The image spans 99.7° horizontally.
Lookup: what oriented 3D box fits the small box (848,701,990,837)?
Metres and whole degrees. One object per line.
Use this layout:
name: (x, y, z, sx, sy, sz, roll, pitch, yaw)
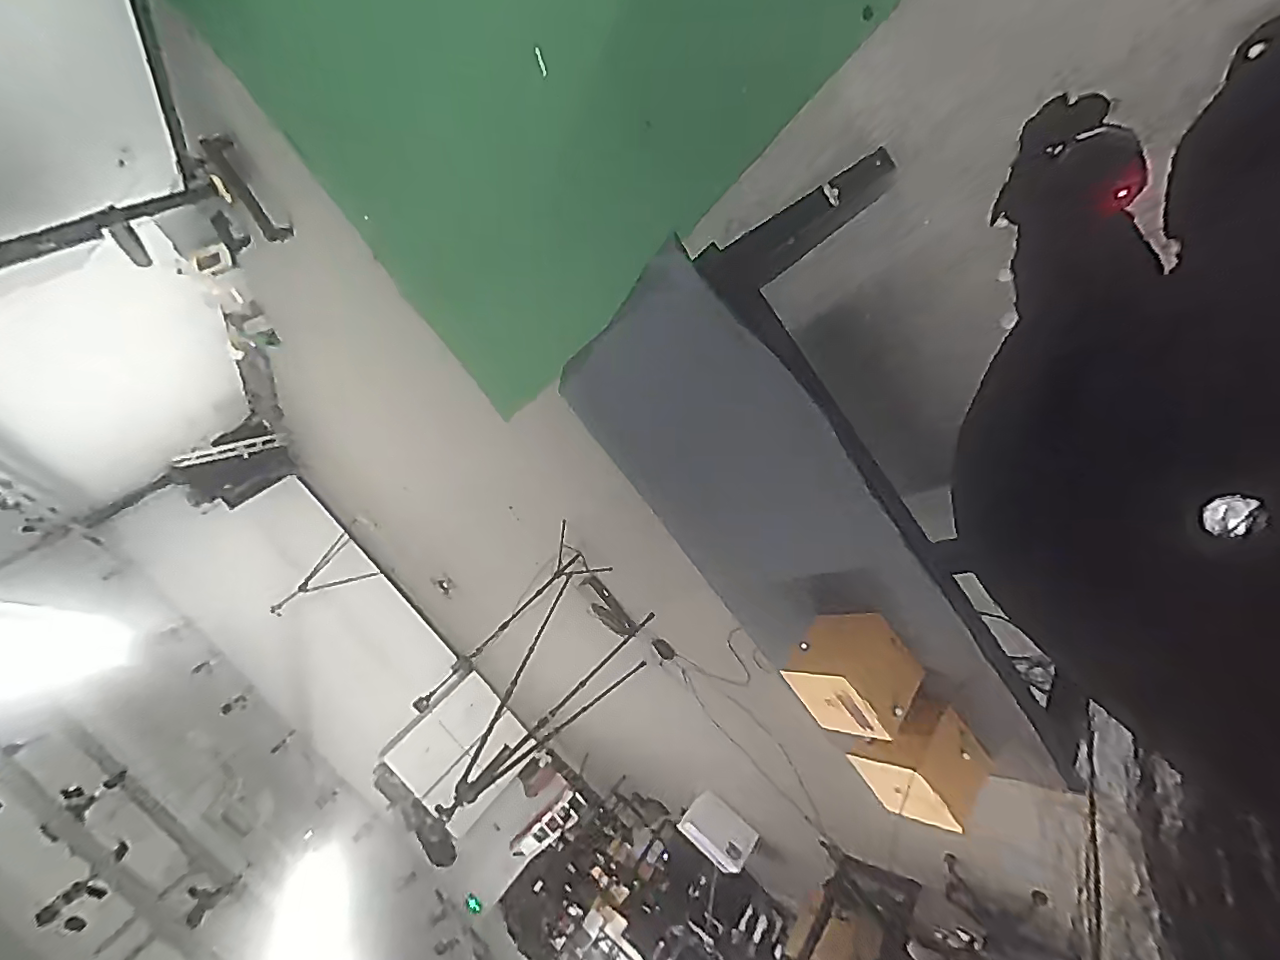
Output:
small box: (0.579, 0.586, 1.123, 0.168, 0.176, 0.179, 53, 148, -6)
